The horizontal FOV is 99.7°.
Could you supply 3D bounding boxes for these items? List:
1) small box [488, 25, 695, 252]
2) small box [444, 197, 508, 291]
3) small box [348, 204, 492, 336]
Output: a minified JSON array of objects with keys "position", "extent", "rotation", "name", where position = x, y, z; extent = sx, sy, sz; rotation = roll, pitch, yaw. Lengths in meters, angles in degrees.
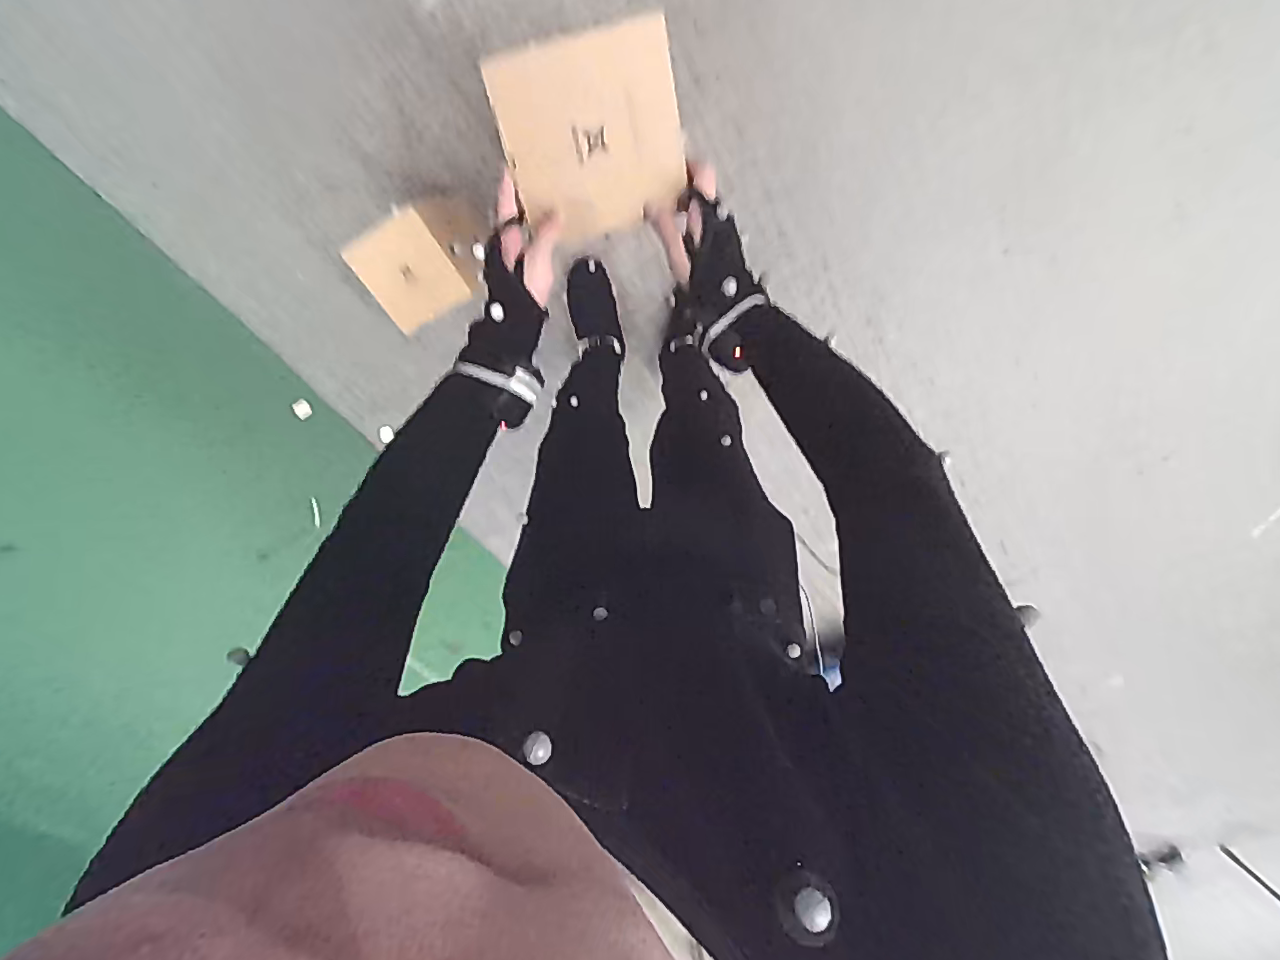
[{"position":[-0.043,-0.366,0.598],"extent":[0.179,0.176,0.168],"rotation":[-11,122,5],"name":"small box"},{"position":[-0.418,-0.503,1.210],"extent":[0.168,0.176,0.179],"rotation":[-25,121,14],"name":"small box"},{"position":[-0.416,-0.416,1.054],"extent":[0.168,0.176,0.179],"rotation":[-25,122,14],"name":"small box"}]
